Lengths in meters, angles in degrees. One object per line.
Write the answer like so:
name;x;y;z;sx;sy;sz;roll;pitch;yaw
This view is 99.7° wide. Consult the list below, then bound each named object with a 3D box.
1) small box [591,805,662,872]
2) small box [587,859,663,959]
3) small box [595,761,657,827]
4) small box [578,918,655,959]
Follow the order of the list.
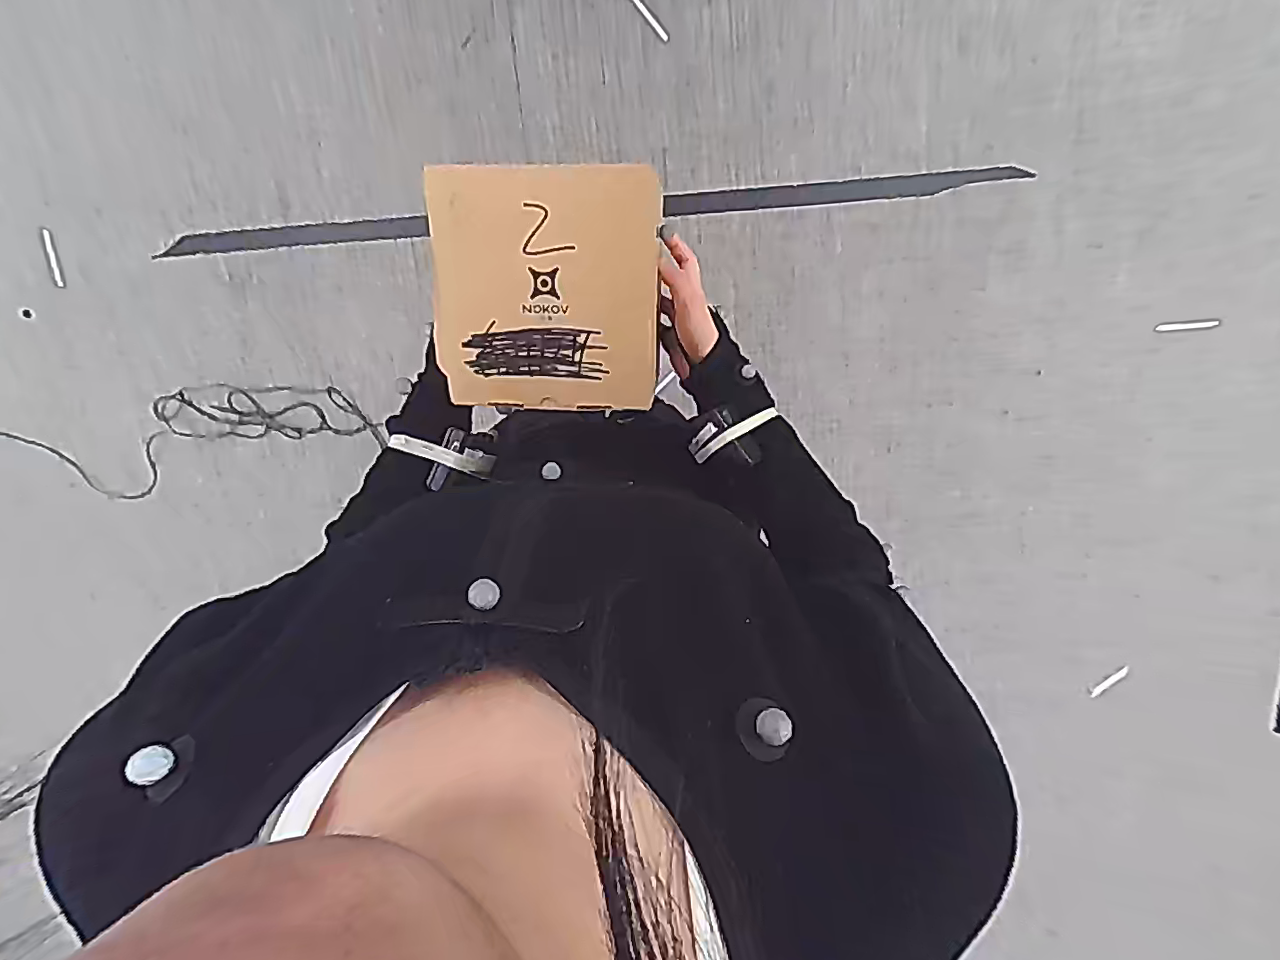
small box;-0.039;1.020;1.473;0.179;0.176;0.168;5;101;-1
small box;-0.039;1.061;1.316;0.179;0.176;0.168;2;101;0
small box;-0.040;0.978;1.632;0.179;0.176;0.168;2;102;0
small box;-0.052;1.091;1.155;0.168;0.176;0.179;2;100;-1
